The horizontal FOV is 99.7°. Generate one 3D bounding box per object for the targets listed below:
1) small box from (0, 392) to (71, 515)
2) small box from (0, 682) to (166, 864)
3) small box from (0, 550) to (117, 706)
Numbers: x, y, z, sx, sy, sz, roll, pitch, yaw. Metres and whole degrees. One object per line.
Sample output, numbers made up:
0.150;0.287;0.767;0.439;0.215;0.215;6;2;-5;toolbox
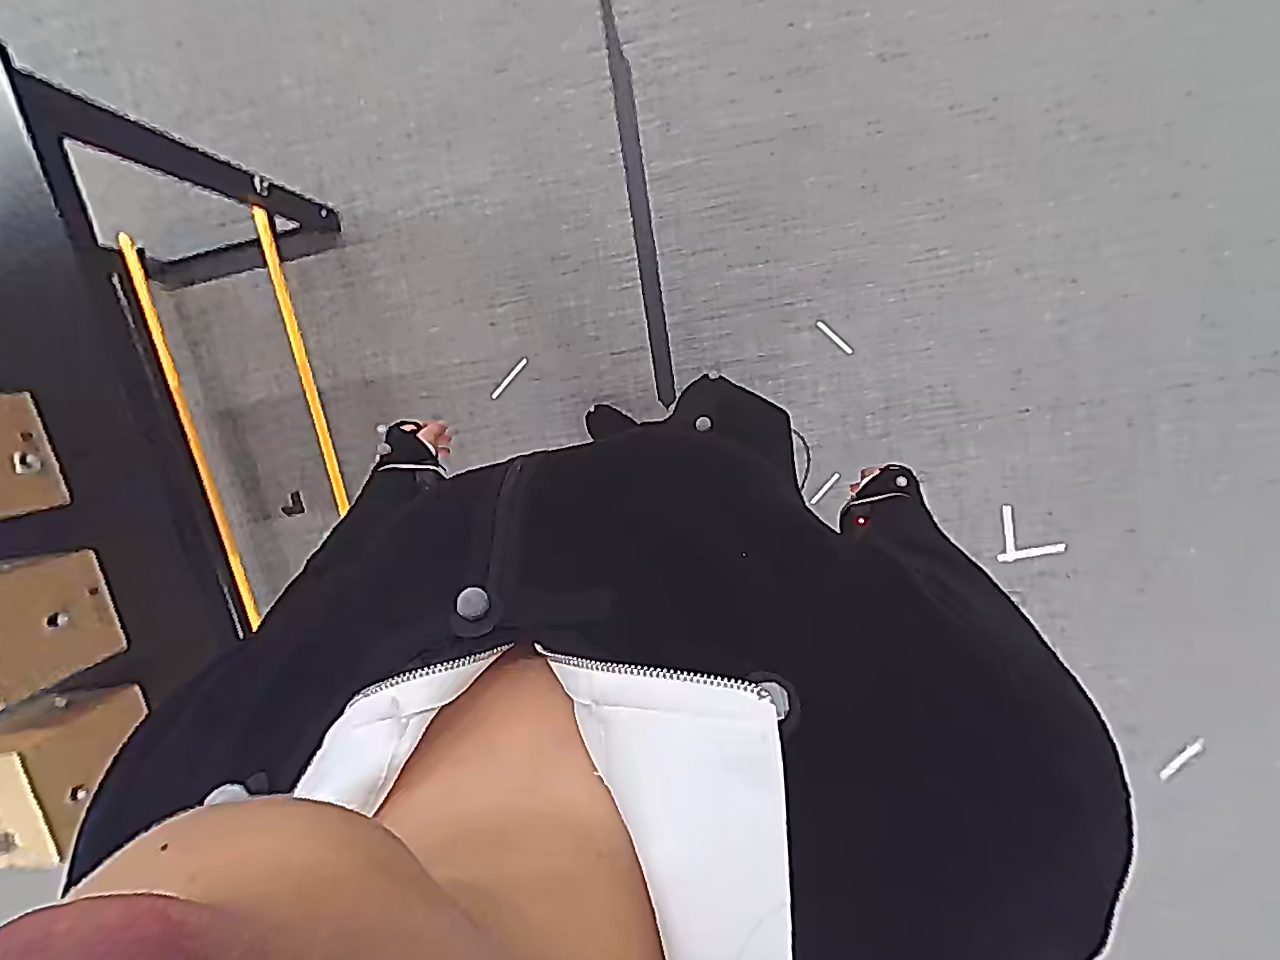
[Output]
-0.957;-0.020;0.731;0.179;0.176;0.168;-10;102;5;small box
-0.880;0.436;0.818;0.168;0.176;0.179;-9;100;5;small box
-0.914;0.209;0.775;0.179;0.176;0.168;-8;101;5;small box
